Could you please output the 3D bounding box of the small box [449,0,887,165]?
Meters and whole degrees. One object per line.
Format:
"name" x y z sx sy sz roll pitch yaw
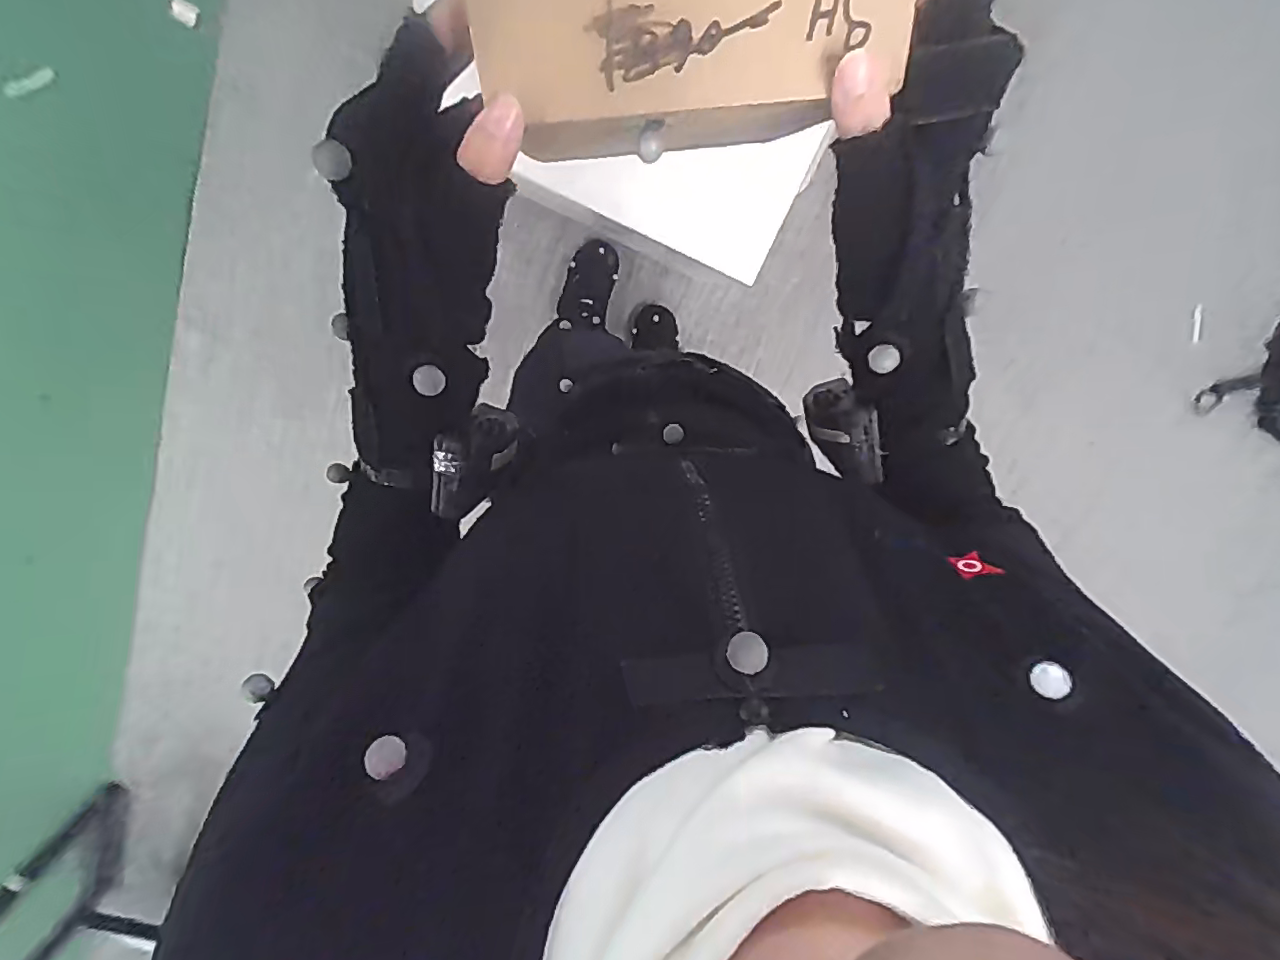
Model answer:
"small box" 0.001 -0.261 0.249 0.168 0.176 0.179 -7 116 -1
